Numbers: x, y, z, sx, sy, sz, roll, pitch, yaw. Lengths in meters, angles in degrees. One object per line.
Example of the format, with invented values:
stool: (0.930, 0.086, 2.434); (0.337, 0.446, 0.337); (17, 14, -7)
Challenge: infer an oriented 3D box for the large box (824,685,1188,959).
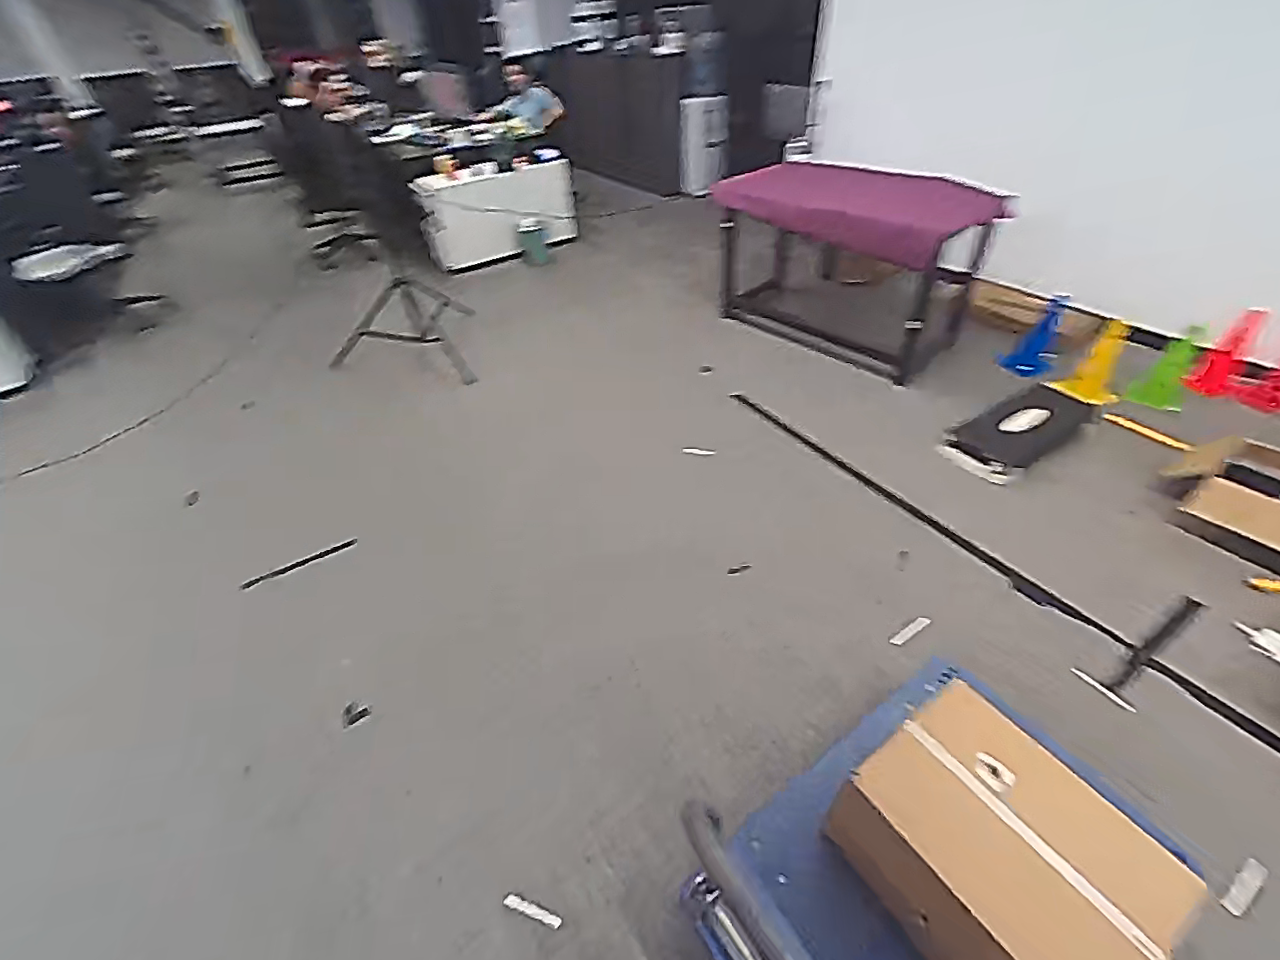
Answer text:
large box: (0.610, 0.679, 0.985); (0.320, 0.320, 0.408); (-26, 45, -22)
